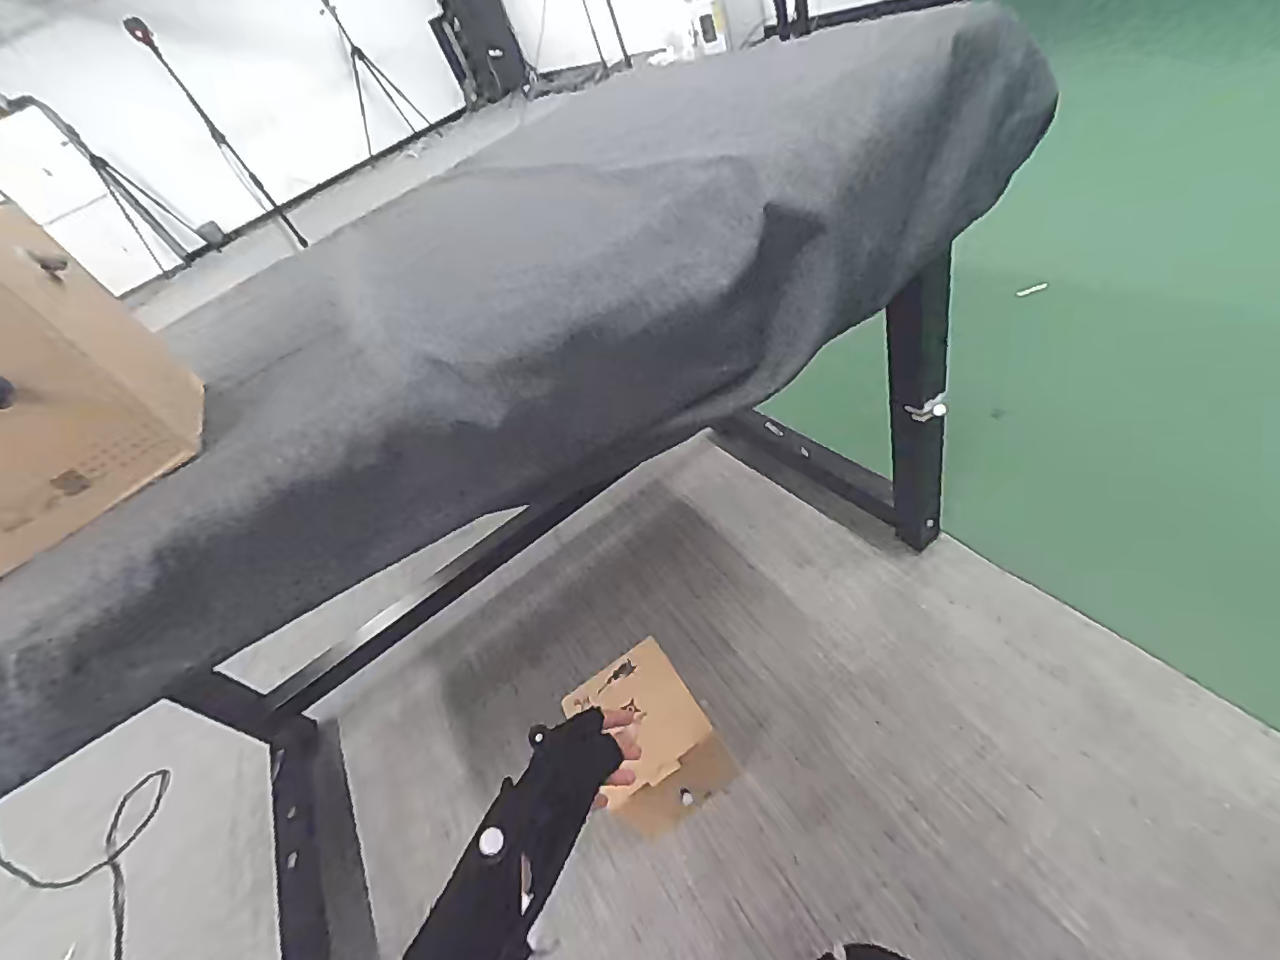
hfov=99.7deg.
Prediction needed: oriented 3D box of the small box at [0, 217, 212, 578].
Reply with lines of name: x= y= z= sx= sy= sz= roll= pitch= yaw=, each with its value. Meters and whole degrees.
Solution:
small box: x=-0.431 y=-0.050 z=0.360 sx=0.168 sy=0.176 sz=0.179 roll=-38 pitch=40 yaw=-15
